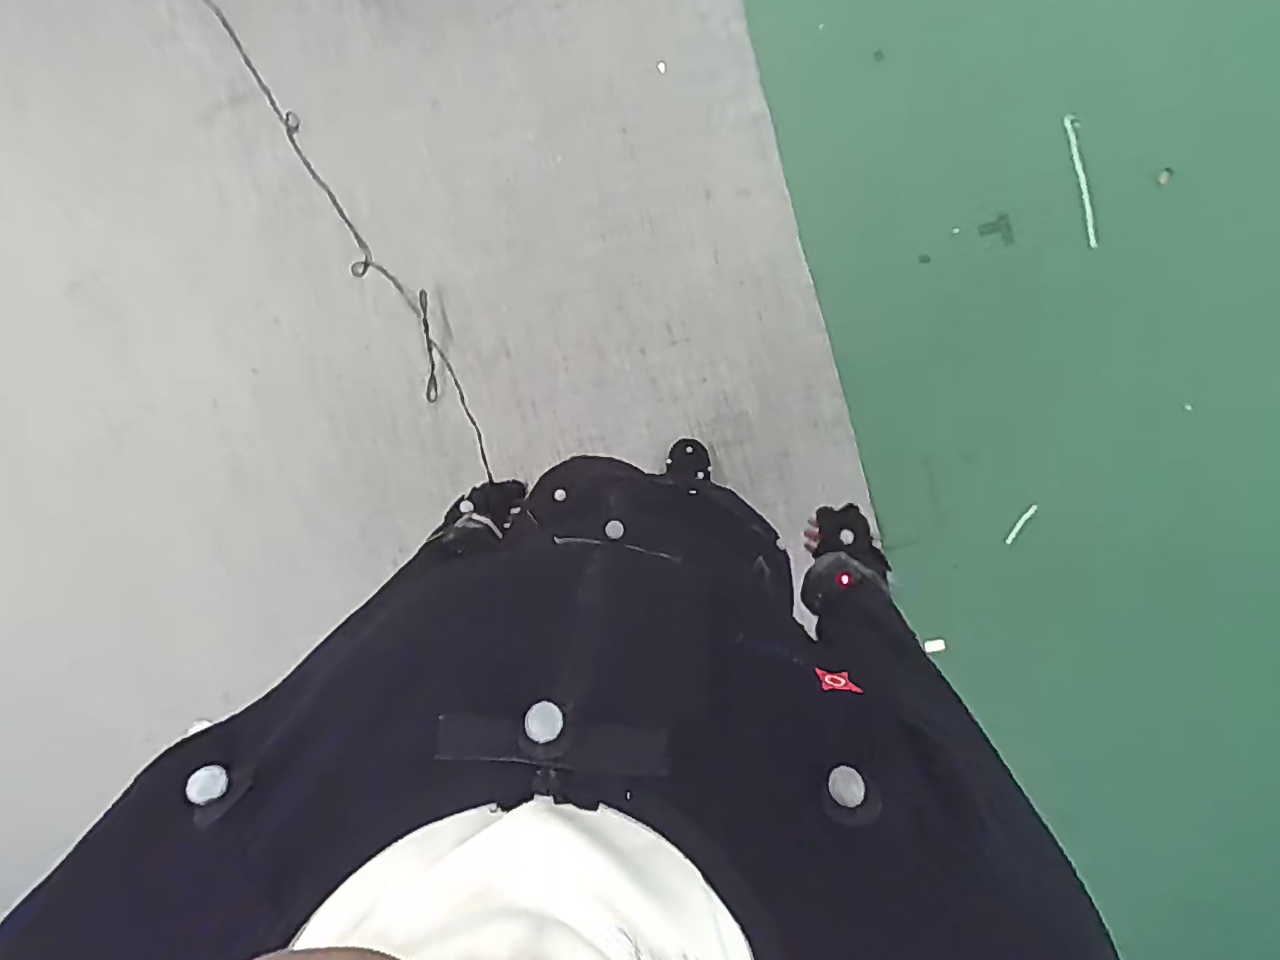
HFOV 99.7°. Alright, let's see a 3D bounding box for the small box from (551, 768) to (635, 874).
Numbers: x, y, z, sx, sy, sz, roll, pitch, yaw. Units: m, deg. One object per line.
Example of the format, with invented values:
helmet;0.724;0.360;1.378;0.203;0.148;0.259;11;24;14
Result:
small box;-0.119;0.903;1.443;0.179;0.176;0.168;-12;94;6
